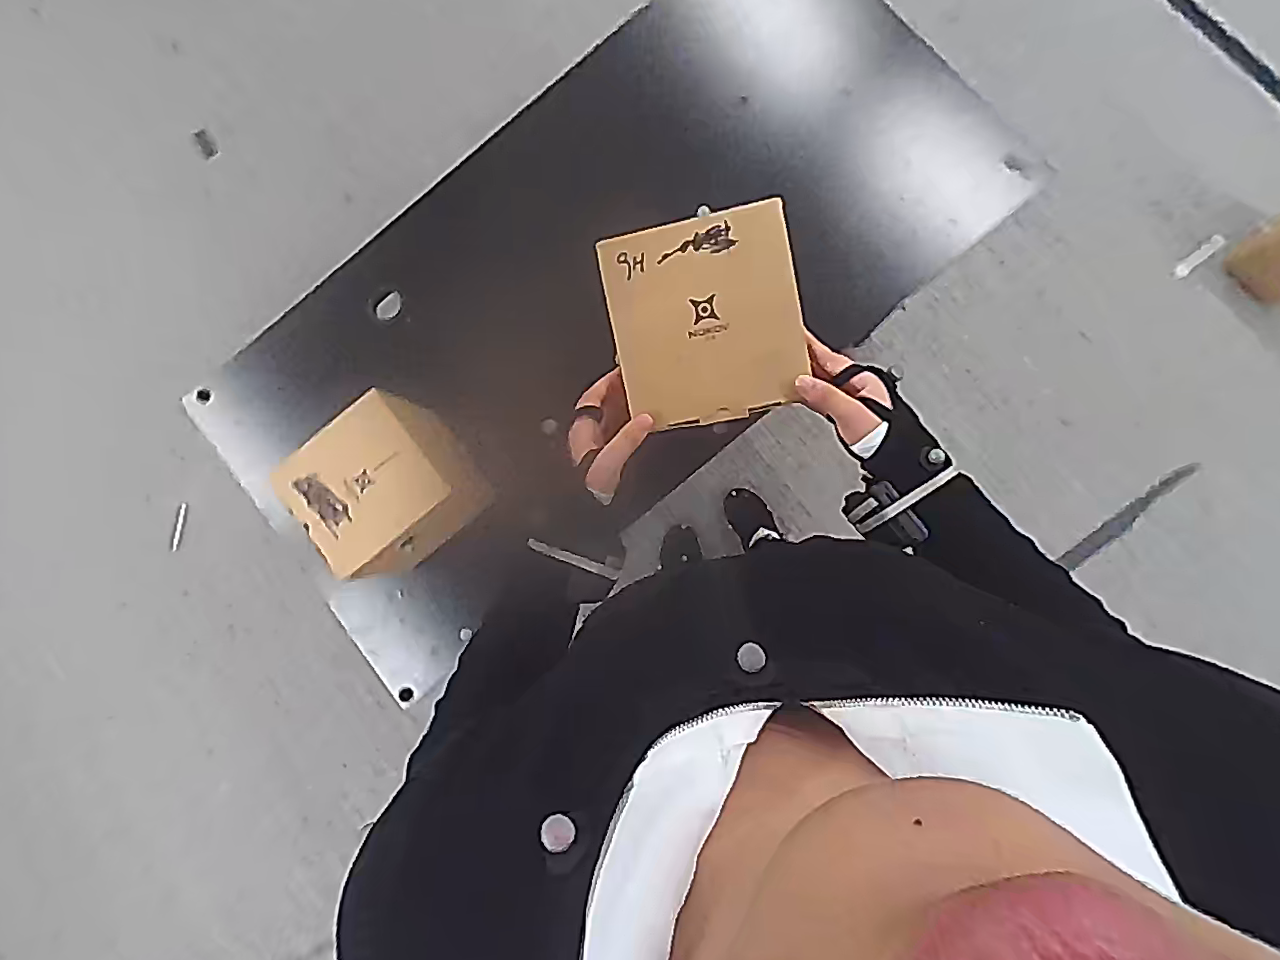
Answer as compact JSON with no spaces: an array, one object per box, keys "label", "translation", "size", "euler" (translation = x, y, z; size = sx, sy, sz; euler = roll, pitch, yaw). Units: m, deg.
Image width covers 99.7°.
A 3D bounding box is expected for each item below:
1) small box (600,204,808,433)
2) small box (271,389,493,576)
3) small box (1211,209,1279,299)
[{"label":"small box","translation":[0.066,-0.152,0.562],"size":[0.168,0.176,0.179],"euler":[-10,97,6]},{"label":"small box","translation":[-0.334,0.008,0.736],"size":[0.179,0.176,0.168],"euler":[-39,85,1]},{"label":"small box","translation":[1.607,-0.573,1.333],"size":[0.168,0.176,0.179],"euler":[-41,84,1]}]
